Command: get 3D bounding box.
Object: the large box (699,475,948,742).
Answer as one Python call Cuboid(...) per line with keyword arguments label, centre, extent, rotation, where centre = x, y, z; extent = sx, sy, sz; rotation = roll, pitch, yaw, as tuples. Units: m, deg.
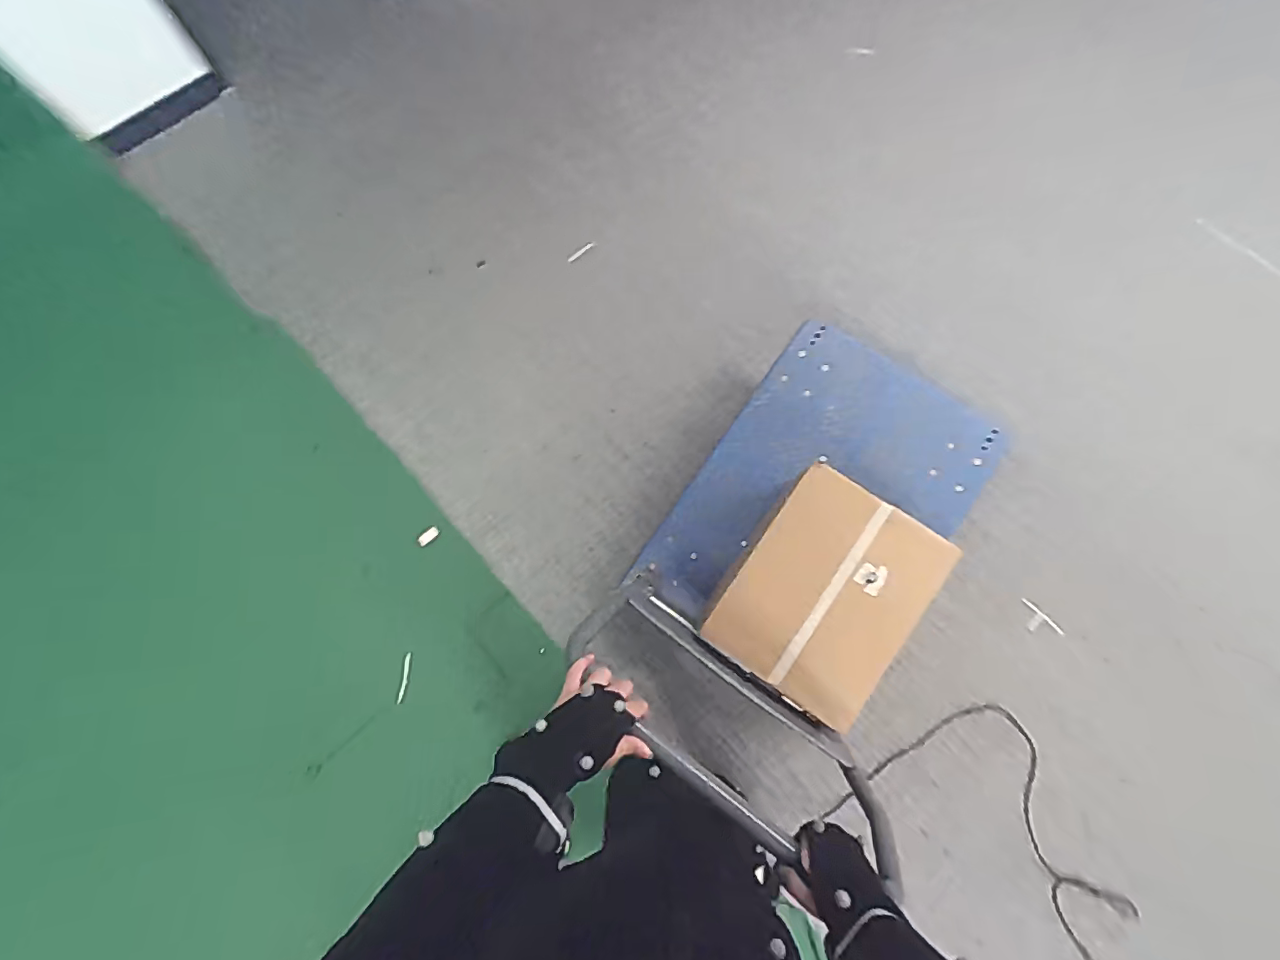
Cuboid(label="large box", centre=(0.359, 0.259, 1.167), extent=(0.320, 0.320, 0.408), rotation=(35, 86, 9))
